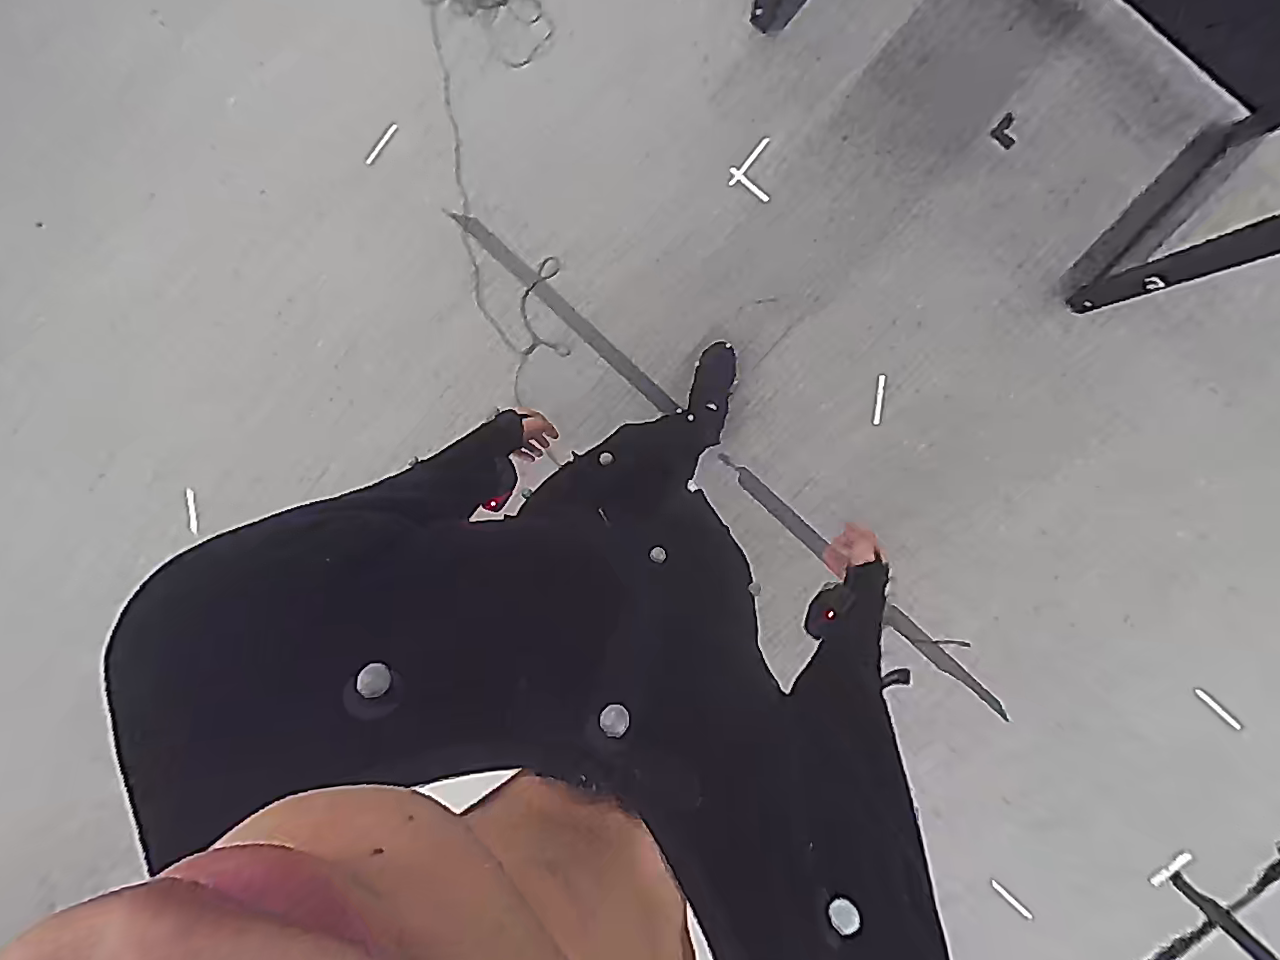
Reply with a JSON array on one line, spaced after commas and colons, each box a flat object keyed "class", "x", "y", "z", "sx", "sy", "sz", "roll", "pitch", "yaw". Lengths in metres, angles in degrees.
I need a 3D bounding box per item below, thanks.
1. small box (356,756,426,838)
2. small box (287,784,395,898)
[{"class": "small box", "x": -0.828, "y": 1.020, "z": 1.723, "sx": 0.179, "sy": 0.176, "sz": 0.168, "roll": 45, "pitch": 98, "yaw": -1}, {"class": "small box", "x": -0.852, "y": 1.032, "z": 1.560, "sx": 0.179, "sy": 0.176, "sz": 0.168, "roll": -45, "pitch": 90, "yaw": 8}]
